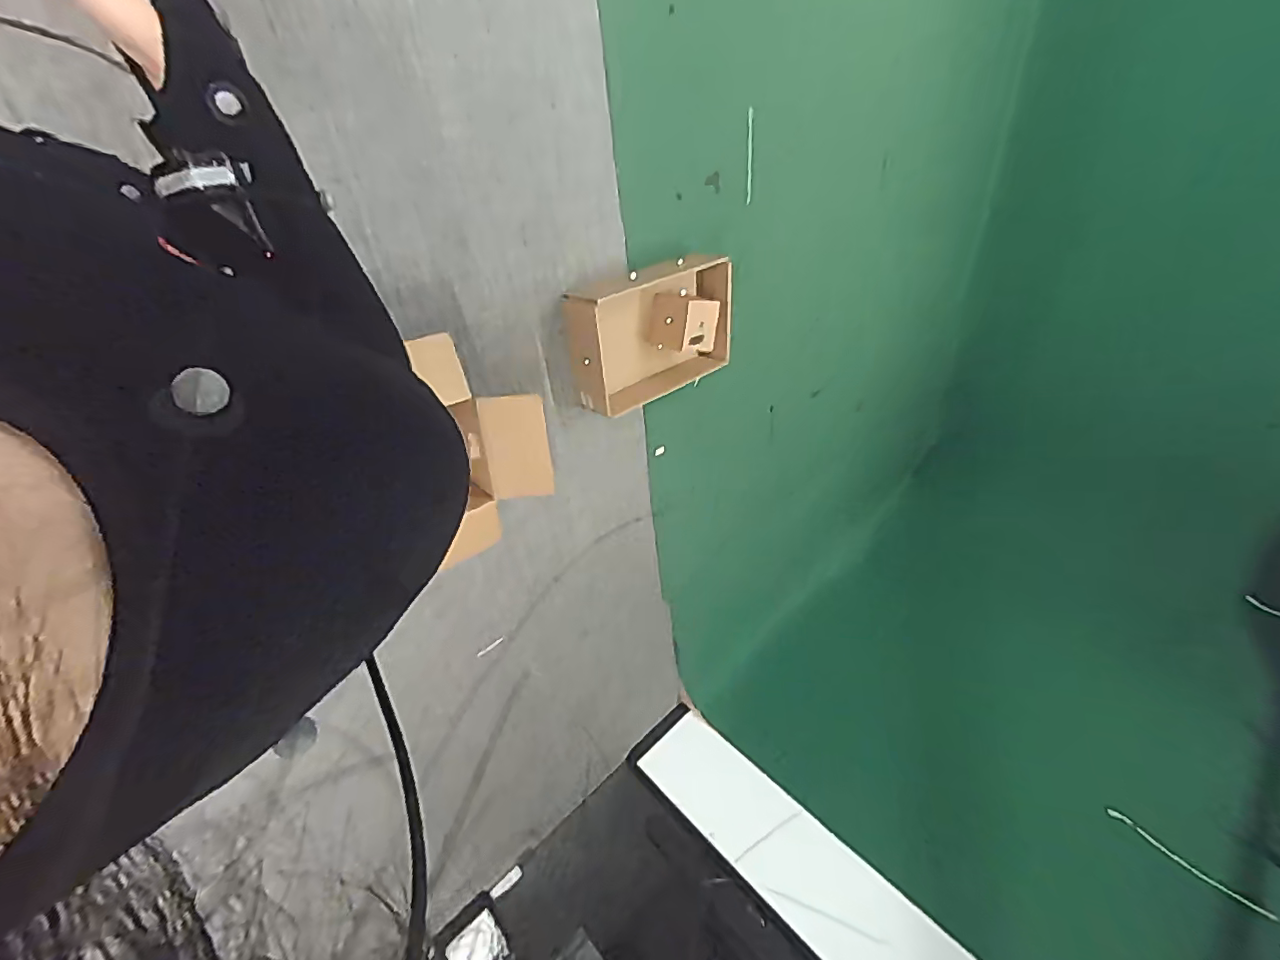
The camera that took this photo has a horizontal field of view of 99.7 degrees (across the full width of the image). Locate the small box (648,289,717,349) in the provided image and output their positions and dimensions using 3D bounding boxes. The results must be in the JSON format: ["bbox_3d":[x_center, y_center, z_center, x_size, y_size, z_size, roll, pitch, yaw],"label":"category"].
[{"bbox_3d":[0.145,-0.578,1.937,0.168,0.176,0.179,-15,123,-40],"label":"small box"}]
